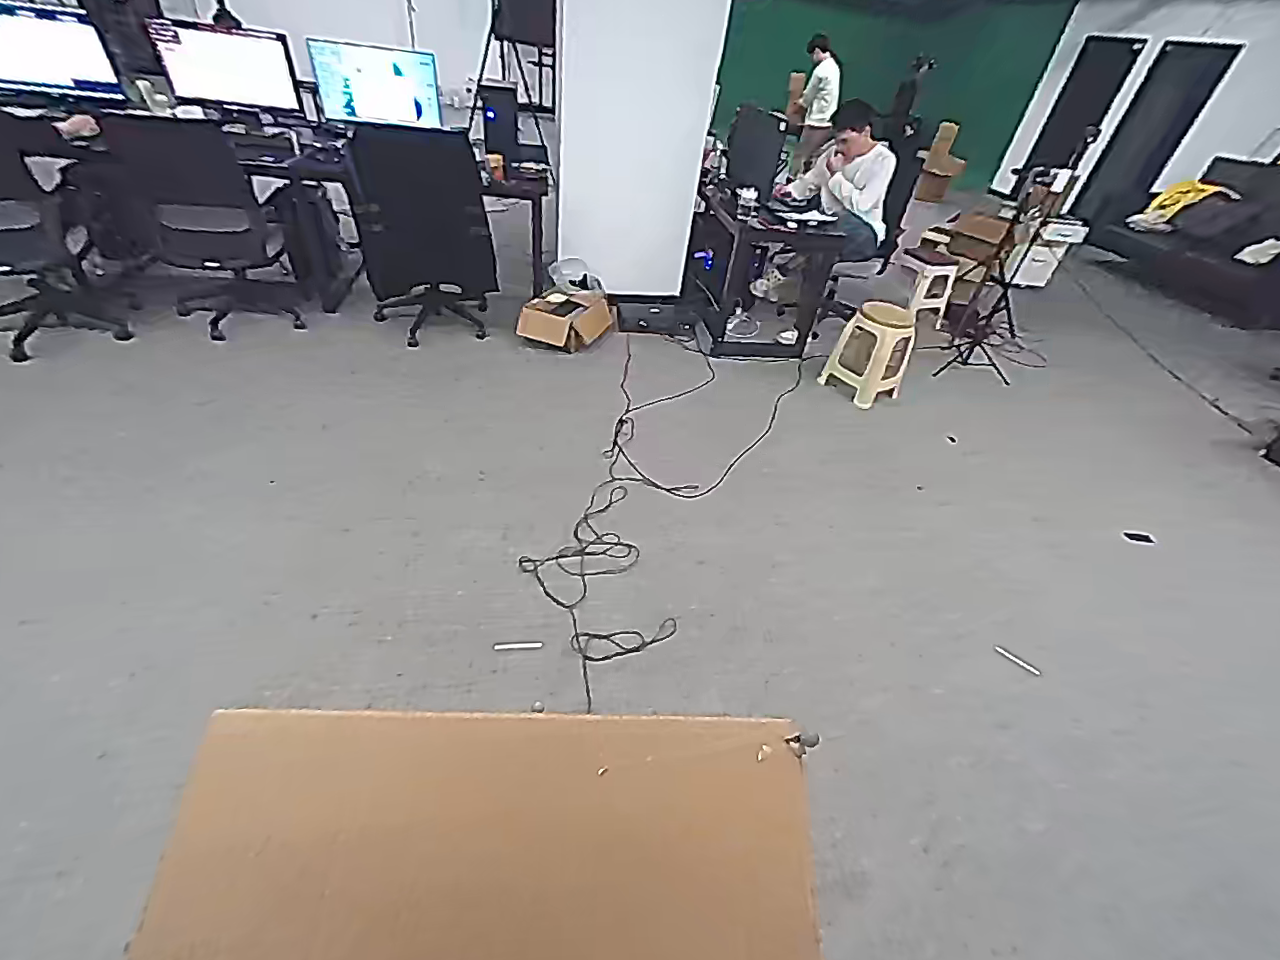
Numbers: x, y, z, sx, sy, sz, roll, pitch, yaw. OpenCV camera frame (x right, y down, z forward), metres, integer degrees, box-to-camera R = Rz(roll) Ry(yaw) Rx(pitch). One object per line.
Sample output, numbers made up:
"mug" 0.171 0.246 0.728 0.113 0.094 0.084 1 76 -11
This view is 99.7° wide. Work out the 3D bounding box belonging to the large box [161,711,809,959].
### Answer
"large box" -0.102 0.375 0.460 0.408 0.320 0.320 3 66 -4
